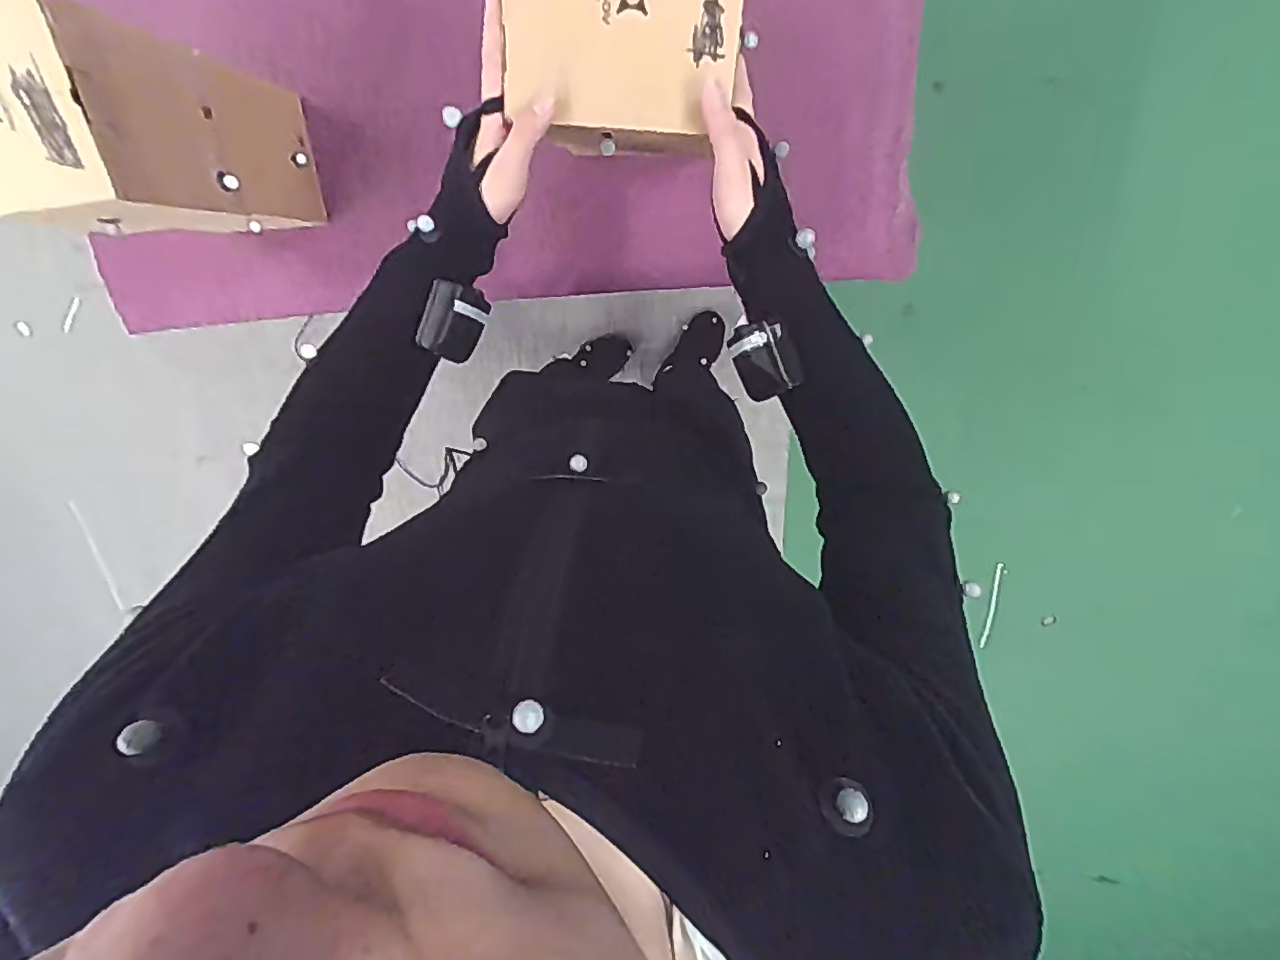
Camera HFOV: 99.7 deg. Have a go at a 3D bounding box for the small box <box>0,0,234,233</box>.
[{"bbox_3d":[-0.565,-0.354,0.552,0.179,0.176,0.168,-4,110,7],"label":"small box"}]

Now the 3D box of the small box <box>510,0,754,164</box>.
[{"bbox_3d":[0.000,-0.373,0.455,0.179,0.176,0.168,7,116,2],"label":"small box"}]
